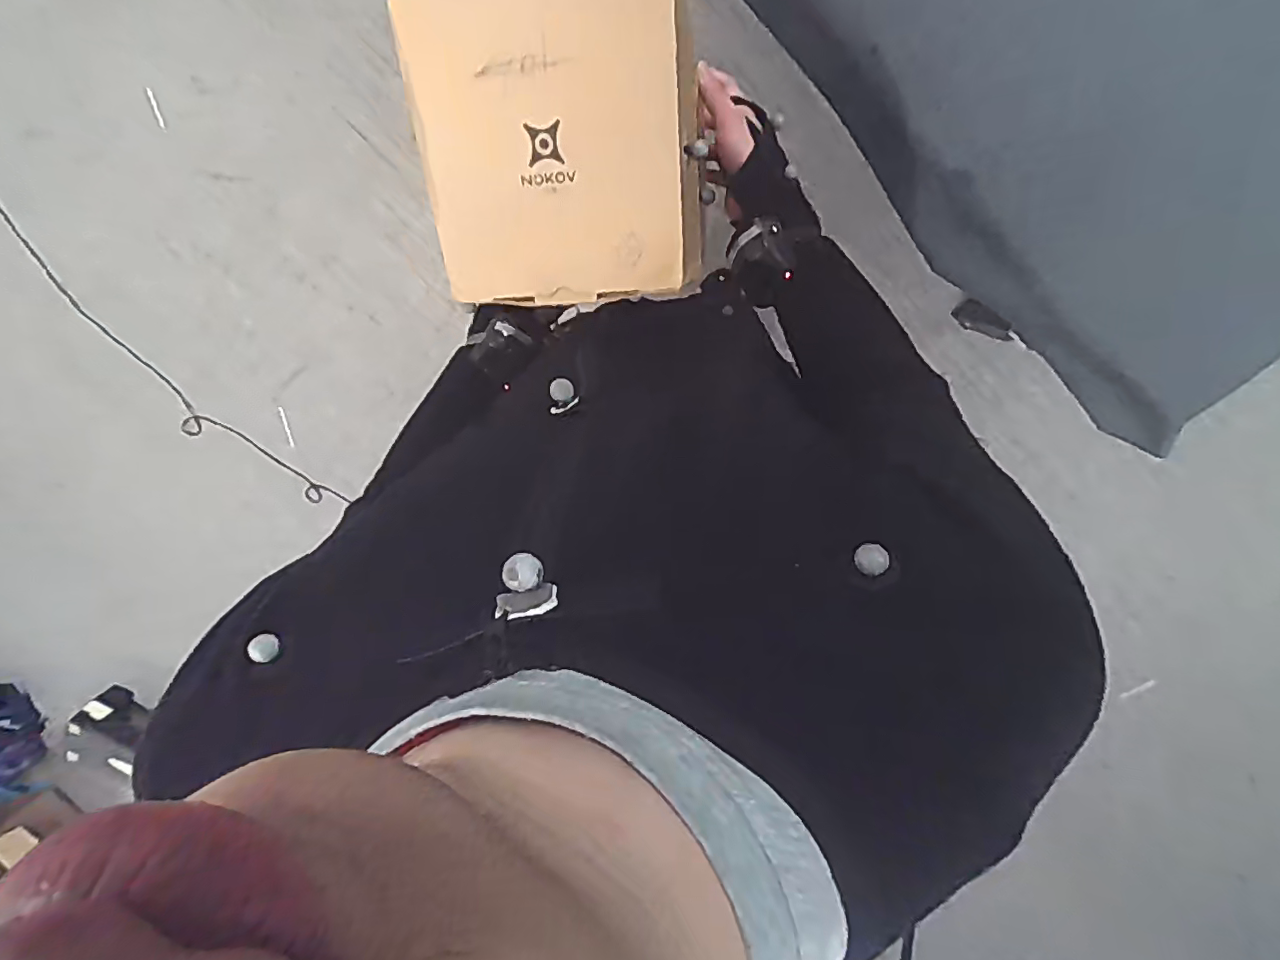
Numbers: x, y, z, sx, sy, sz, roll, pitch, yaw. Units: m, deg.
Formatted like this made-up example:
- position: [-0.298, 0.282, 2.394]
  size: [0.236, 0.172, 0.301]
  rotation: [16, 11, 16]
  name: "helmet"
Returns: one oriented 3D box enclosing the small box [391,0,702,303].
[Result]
- position: [-0.042, -0.237, 0.398]
  size: [0.168, 0.176, 0.179]
  rotation: [0, 116, 10]
  name: "small box"
